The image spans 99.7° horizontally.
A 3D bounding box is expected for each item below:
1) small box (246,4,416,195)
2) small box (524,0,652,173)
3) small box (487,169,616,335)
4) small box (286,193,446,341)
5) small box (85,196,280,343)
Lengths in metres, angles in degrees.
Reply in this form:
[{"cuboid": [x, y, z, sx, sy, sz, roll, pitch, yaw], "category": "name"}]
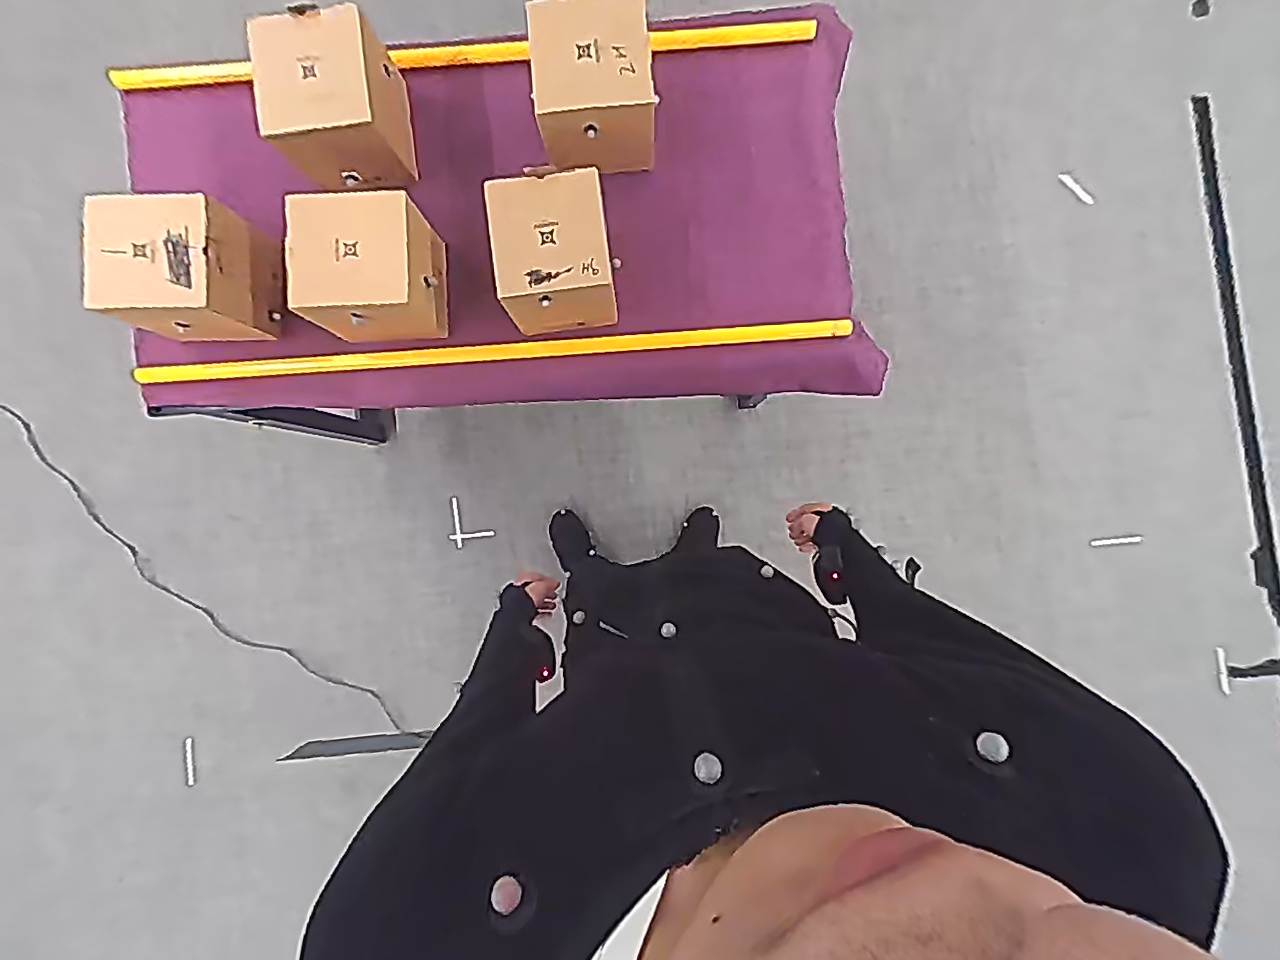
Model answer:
[{"cuboid": [-0.474, -0.587, 0.854, 0.168, 0.176, 0.179, -7, 90, 1], "category": "small box"}, {"cuboid": [-0.073, -0.609, 0.853, 0.179, 0.176, 0.168, -5, 90, 0], "category": "small box"}, {"cuboid": [-0.129, -0.346, 0.846, 0.168, 0.176, 0.179, -7, 86, 0], "category": "small box"}, {"cuboid": [-0.414, -0.323, 0.847, 0.179, 0.176, 0.168, -3, 88, 1], "category": "small box"}, {"cuboid": [-0.698, -0.318, 0.844, 0.179, 0.176, 0.168, -1, 88, 0], "category": "small box"}]
